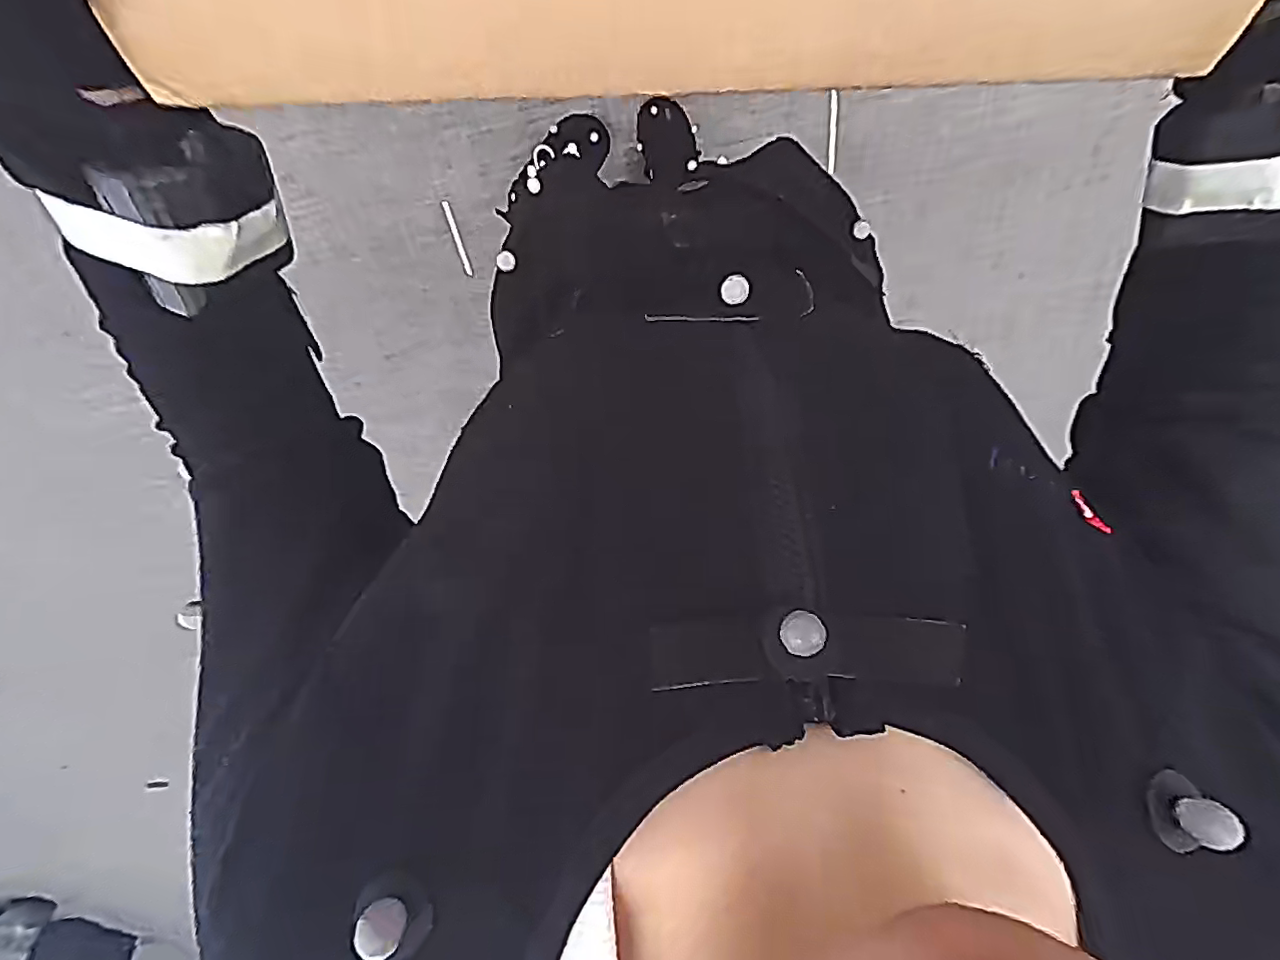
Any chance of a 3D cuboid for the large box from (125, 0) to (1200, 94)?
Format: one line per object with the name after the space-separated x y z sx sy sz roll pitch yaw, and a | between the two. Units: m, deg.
0.010 -0.370 0.172 0.408 0.320 0.320 -5 144 -4 | large box
